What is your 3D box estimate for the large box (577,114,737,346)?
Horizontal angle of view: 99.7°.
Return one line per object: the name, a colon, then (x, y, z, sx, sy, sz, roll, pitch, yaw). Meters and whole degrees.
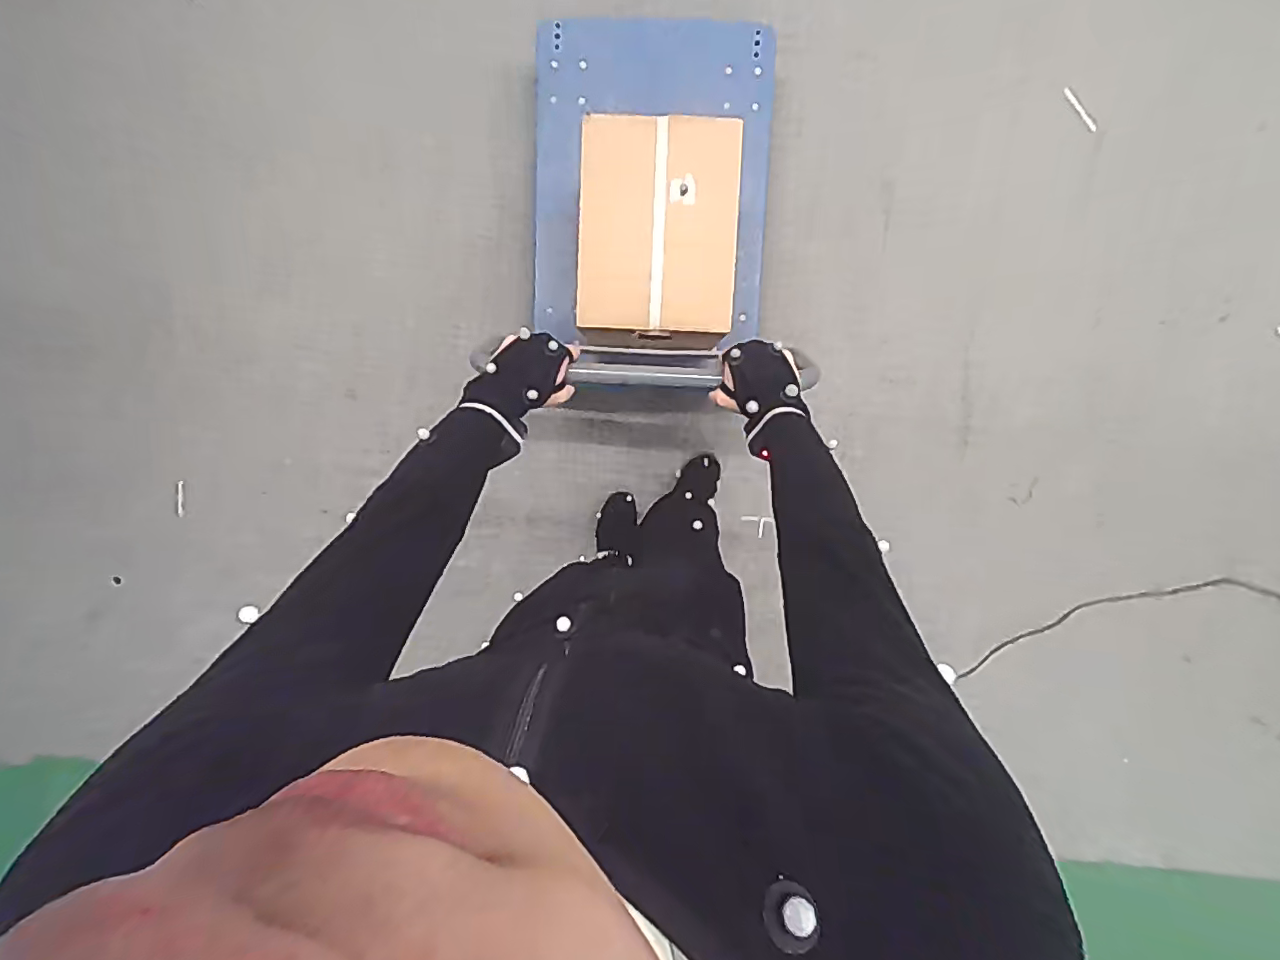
large box: (0.035, -0.525, 1.218, 0.320, 0.320, 0.408, 2, 96, 0)
